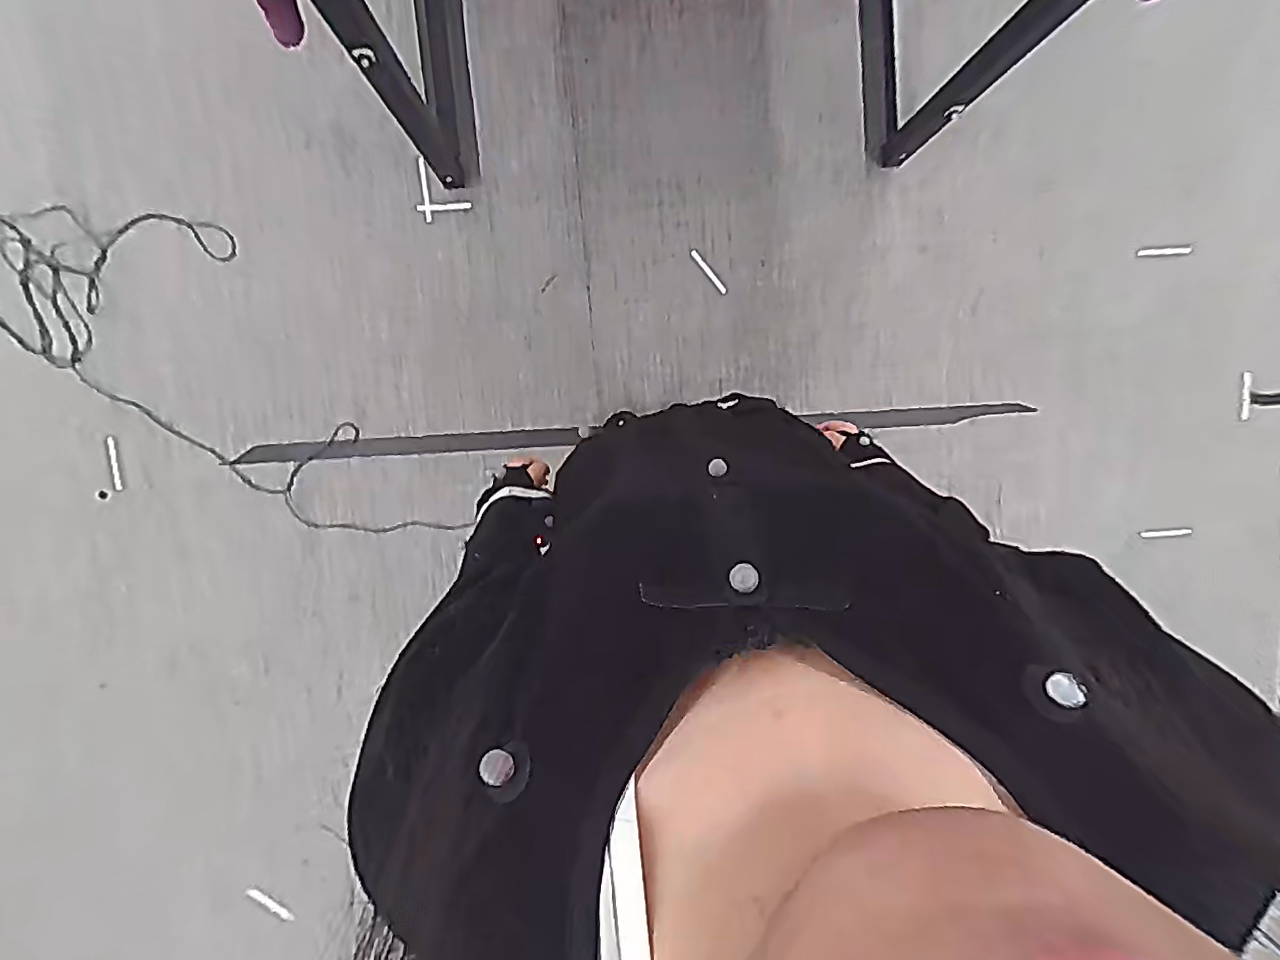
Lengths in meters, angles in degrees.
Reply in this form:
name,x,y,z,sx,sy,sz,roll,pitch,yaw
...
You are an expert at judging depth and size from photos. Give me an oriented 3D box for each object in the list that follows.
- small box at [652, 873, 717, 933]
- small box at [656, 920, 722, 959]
name,x,y,z,sx,sy,sz,roll,pitch,yaw
small box,0.130,1.279,1.564,0.168,0.176,0.179,-8,97,-2
small box,0.139,1.301,1.402,0.168,0.176,0.179,-10,98,-2
